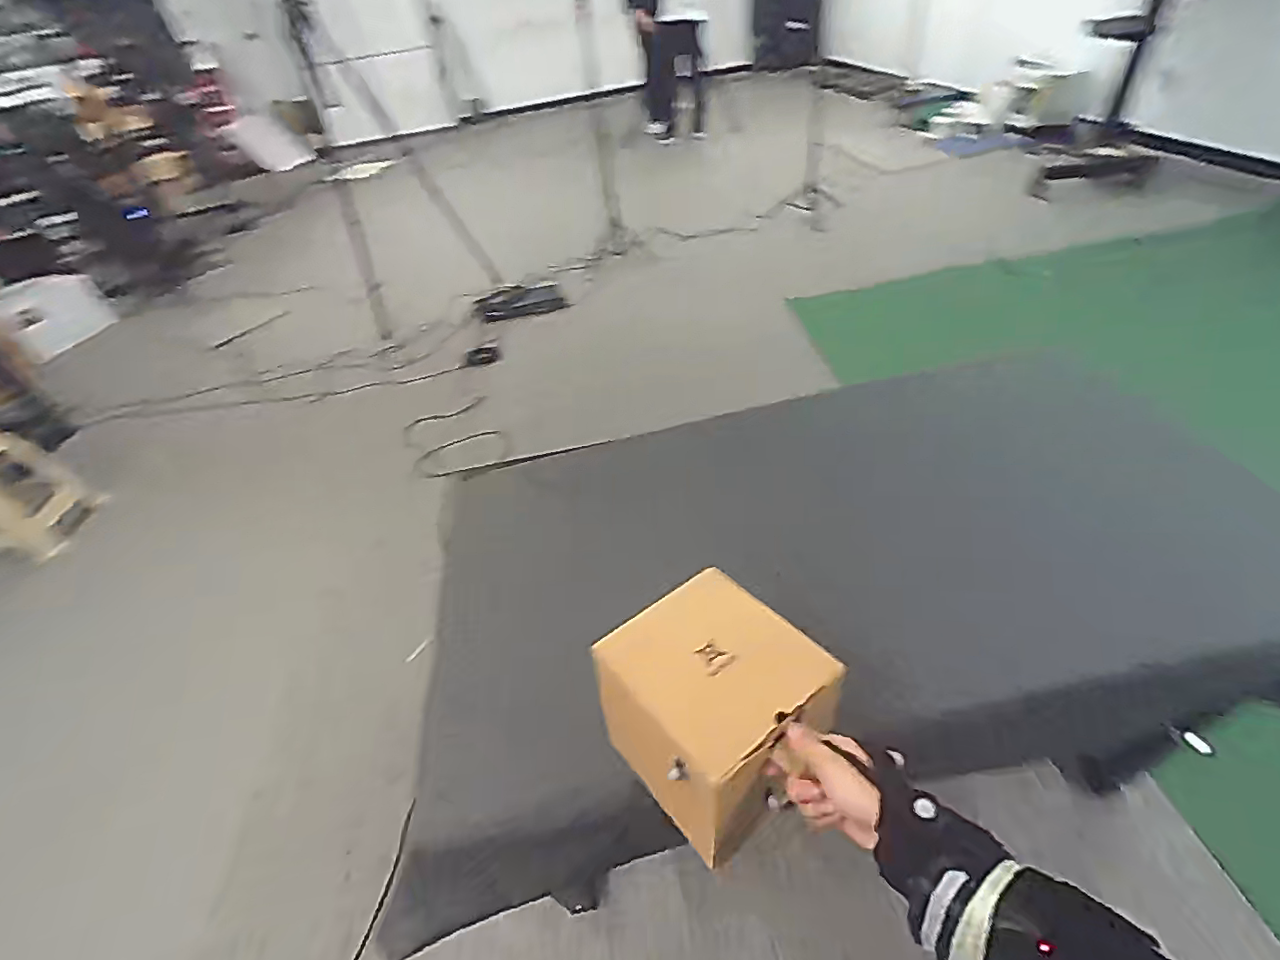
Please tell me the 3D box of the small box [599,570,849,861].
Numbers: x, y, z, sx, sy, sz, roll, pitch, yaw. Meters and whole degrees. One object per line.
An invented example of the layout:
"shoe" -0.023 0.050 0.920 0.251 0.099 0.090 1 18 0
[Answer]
"small box" 0.079 0.231 0.550 0.168 0.176 0.179 -28 41 -28
